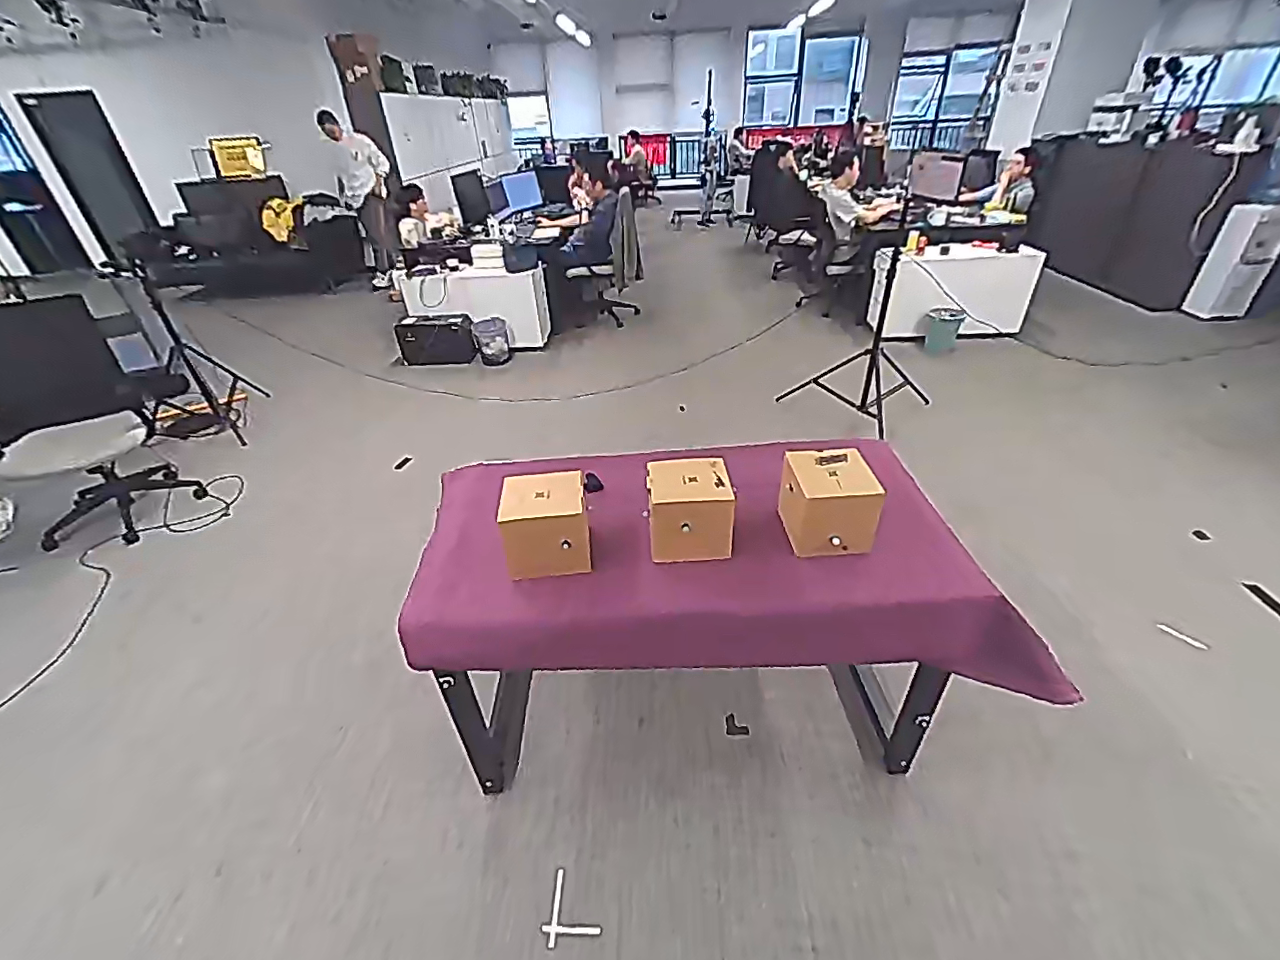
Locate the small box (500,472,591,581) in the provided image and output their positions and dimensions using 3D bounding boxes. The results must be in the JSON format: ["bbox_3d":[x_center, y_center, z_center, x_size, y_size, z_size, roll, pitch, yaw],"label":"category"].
[{"bbox_3d":[-0.201,0.104,1.202,0.179,0.176,0.168,-7,33,-3],"label":"small box"}]

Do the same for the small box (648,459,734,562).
[{"bbox_3d":[0.113,0.070,1.222,0.179,0.176,0.168,-4,34,0],"label":"small box"}]

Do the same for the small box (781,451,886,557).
[{"bbox_3d":[0.423,0.052,1.218,0.168,0.176,0.179,-4,34,0],"label":"small box"}]
